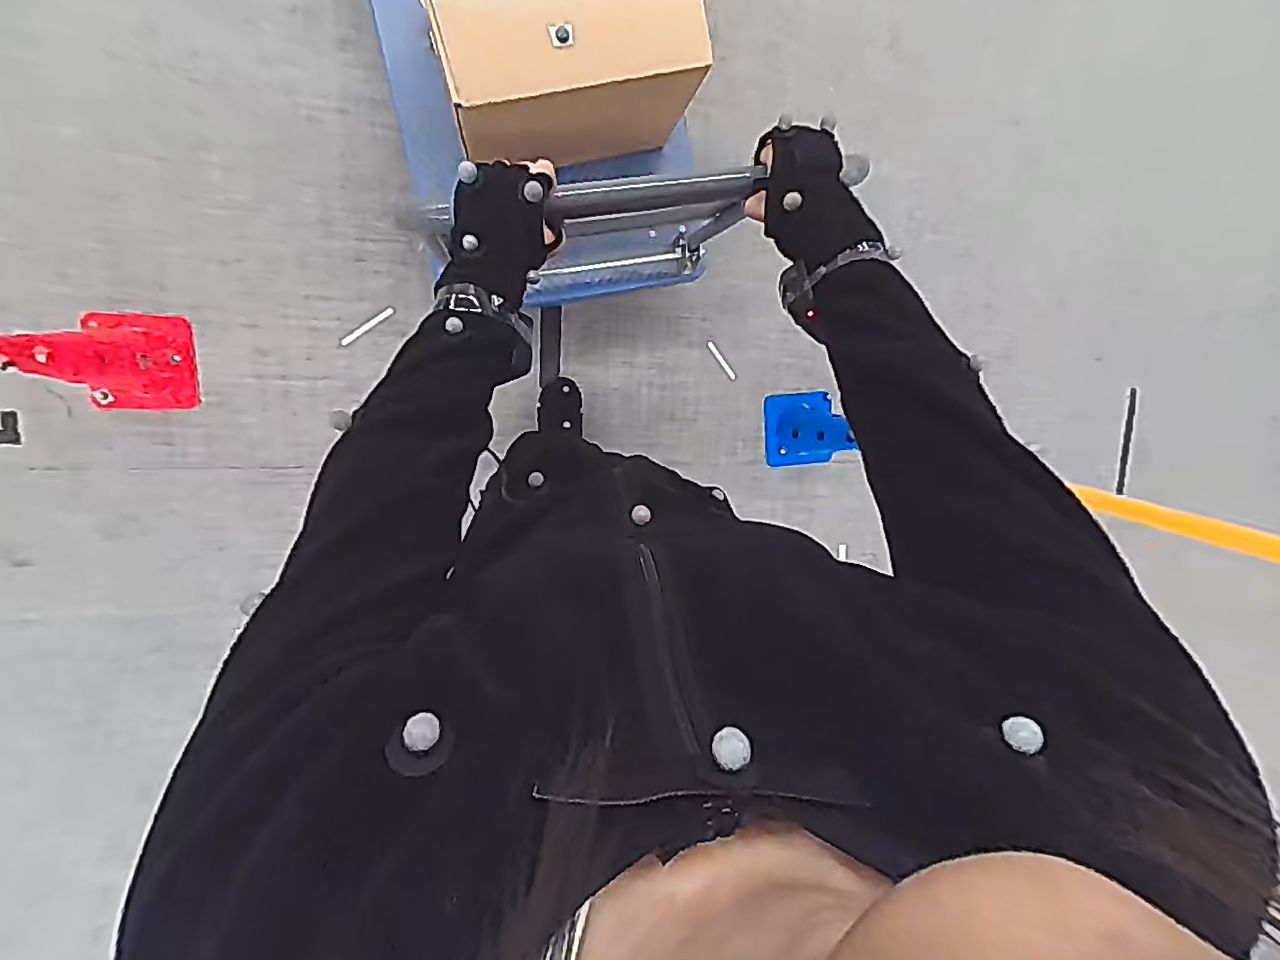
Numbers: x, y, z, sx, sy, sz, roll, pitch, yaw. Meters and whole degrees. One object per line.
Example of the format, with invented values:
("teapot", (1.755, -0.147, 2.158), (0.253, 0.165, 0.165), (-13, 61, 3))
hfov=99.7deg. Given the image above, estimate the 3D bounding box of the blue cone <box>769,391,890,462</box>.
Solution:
("blue cone", (0.481, -0.125, 1.332), (0.193, 0.380, 0.192), (-4, 98, -12))
